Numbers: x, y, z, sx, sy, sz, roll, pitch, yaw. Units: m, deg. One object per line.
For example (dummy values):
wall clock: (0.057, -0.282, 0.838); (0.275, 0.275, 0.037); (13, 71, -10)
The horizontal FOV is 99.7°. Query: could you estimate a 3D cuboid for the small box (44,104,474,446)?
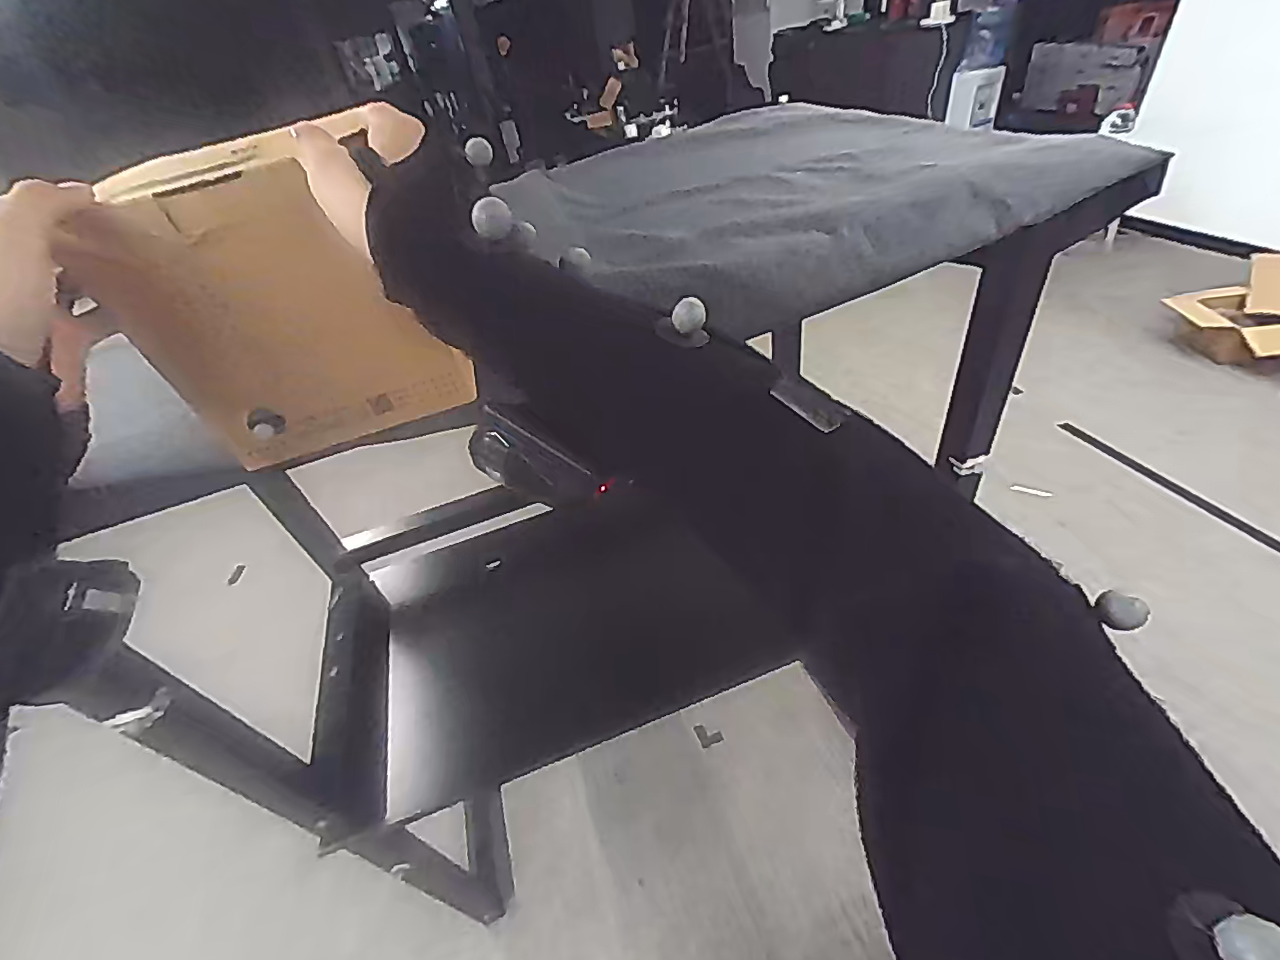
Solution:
small box: (-0.230, -0.143, 0.391); (0.168, 0.176, 0.179); (-19, 42, -5)
